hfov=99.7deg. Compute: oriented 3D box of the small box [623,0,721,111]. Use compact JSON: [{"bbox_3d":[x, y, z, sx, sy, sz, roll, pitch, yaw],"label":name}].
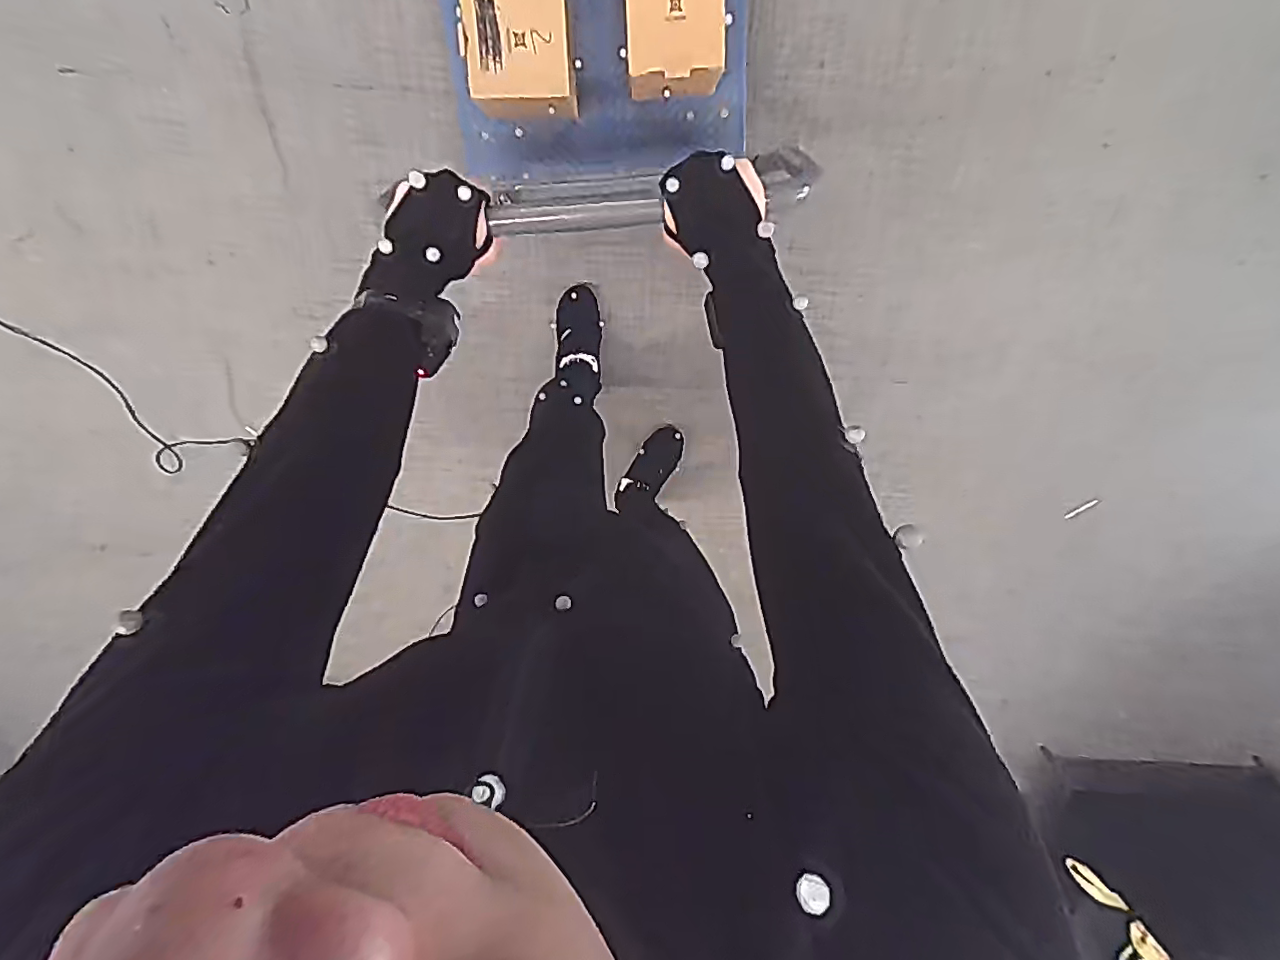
[{"bbox_3d":[0.054,-0.807,0.994,0.168,0.176,0.179,-4,113,1],"label":"small box"}]
